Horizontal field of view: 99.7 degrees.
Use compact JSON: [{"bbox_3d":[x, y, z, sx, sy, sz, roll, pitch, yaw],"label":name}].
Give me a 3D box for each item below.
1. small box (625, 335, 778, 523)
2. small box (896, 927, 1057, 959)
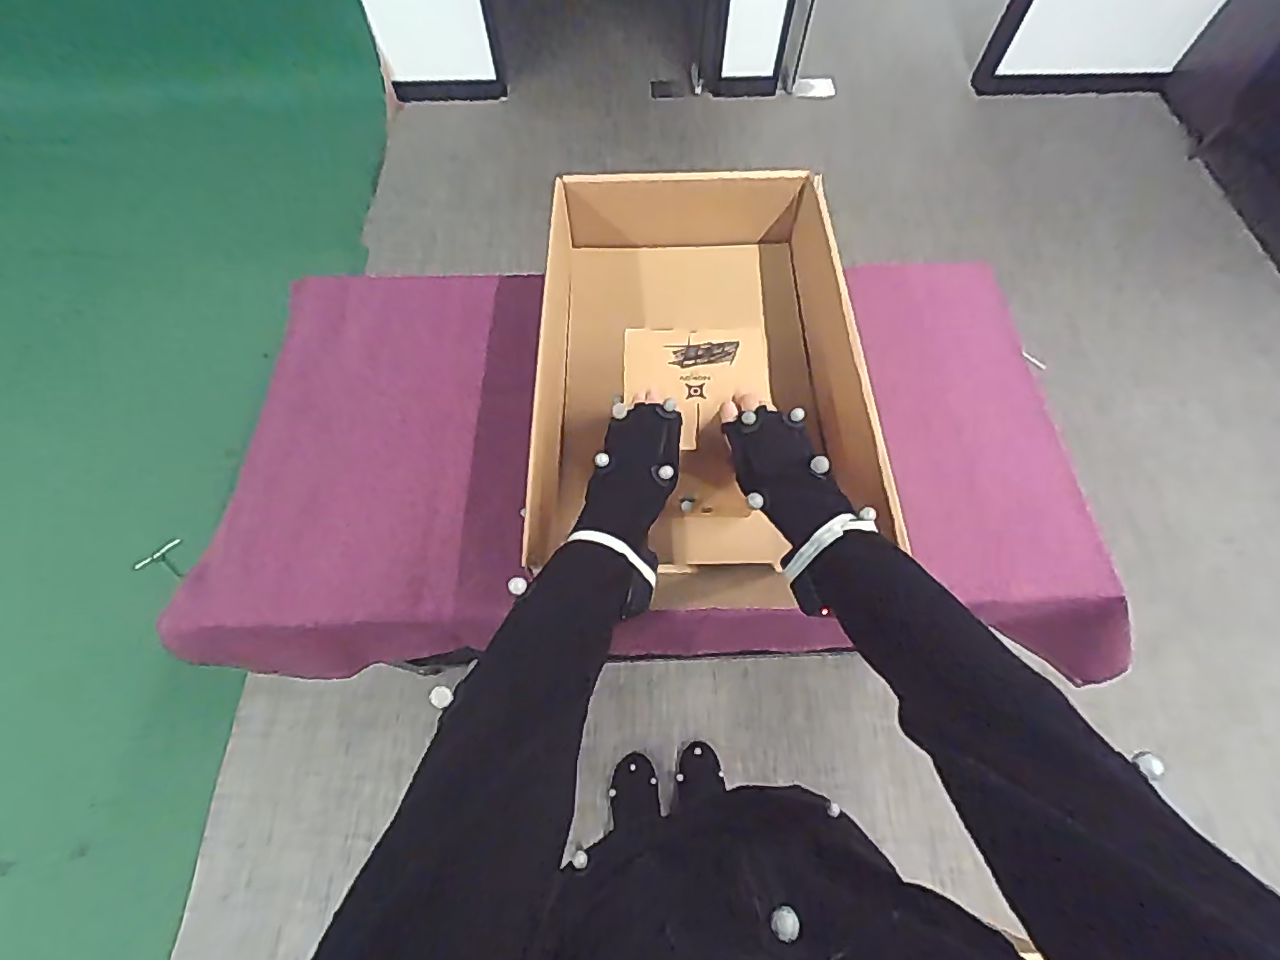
[{"bbox_3d":[0.064,-0.060,0.680,0.168,0.176,0.179,-1,61,0],"label":"small box"},{"bbox_3d":[0.492,0.767,0.774,0.168,0.176,0.179,-1,62,0],"label":"small box"}]
